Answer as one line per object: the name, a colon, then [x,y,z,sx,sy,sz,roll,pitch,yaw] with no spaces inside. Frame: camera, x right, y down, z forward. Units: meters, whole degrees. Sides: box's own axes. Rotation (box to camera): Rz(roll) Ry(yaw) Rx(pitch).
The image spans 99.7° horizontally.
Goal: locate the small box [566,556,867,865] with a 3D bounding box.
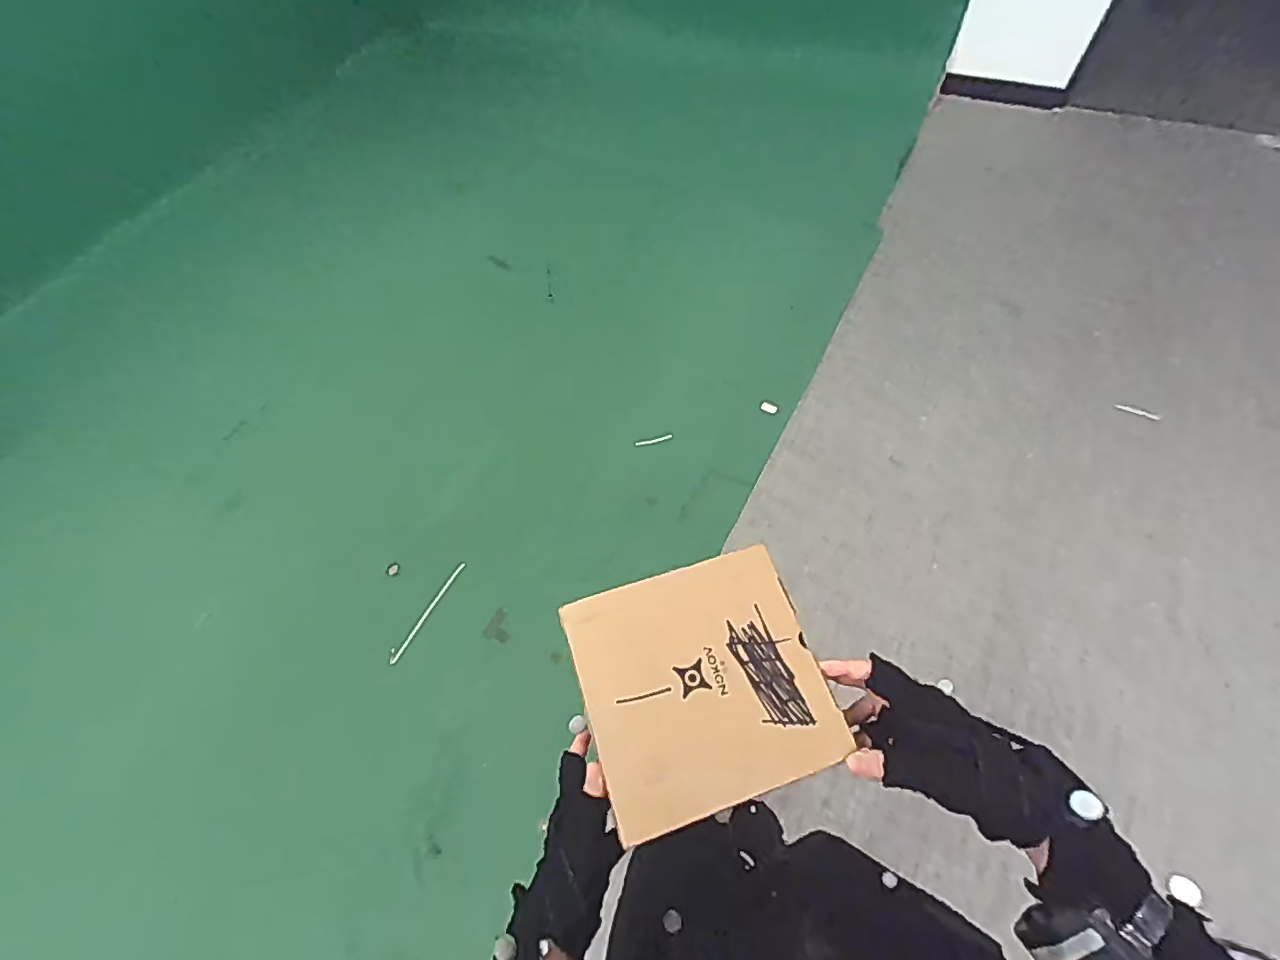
small box: [0.044,0.185,0.452,0.179,0.176,0.168,-14,63,-10]
